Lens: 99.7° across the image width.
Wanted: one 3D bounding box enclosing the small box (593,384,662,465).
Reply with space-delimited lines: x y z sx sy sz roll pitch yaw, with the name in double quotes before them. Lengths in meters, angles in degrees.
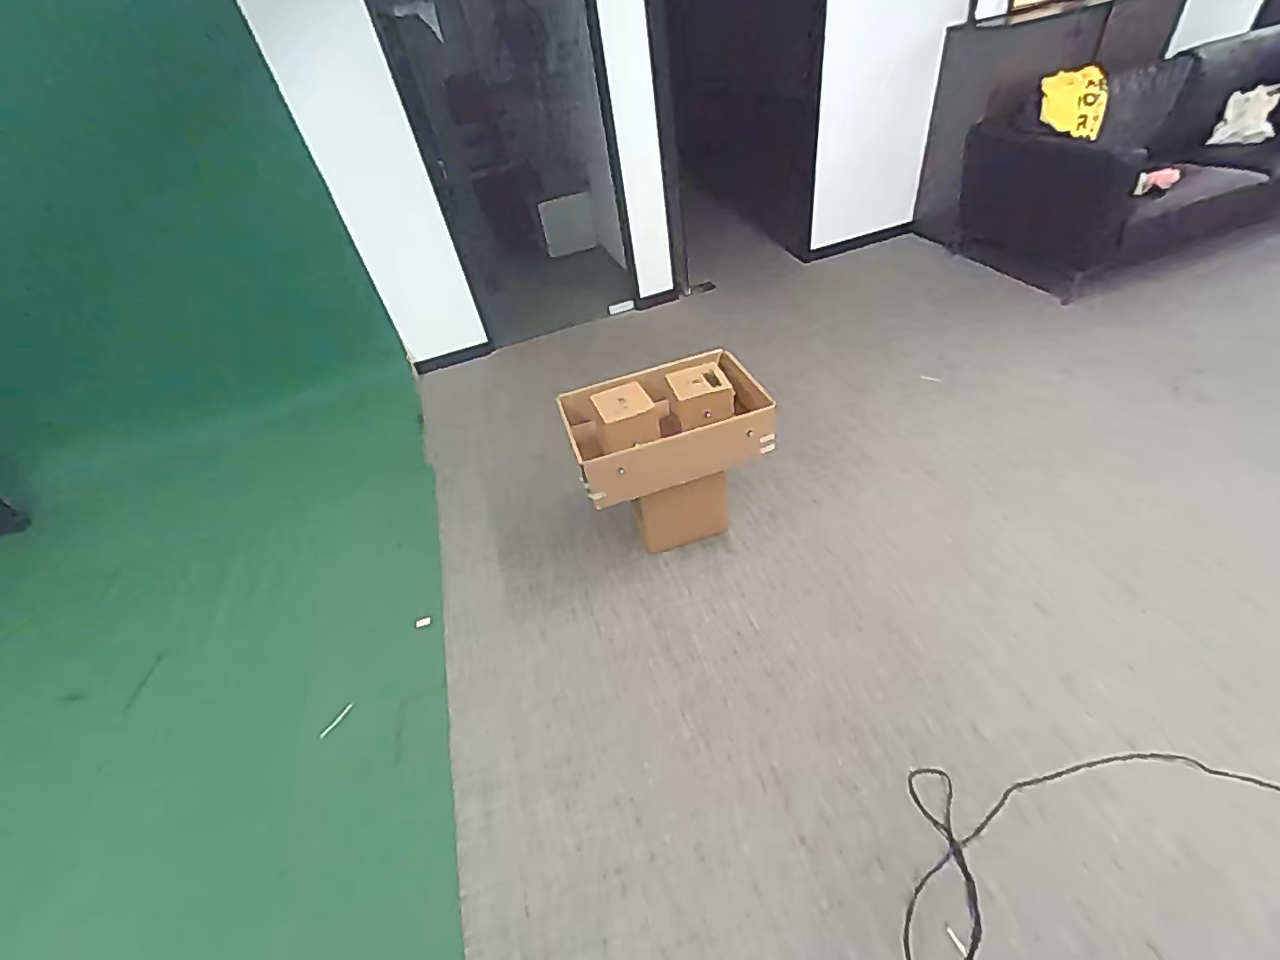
"small box" -0.039 -0.178 1.735 0.168 0.176 0.179 -20 43 -10
